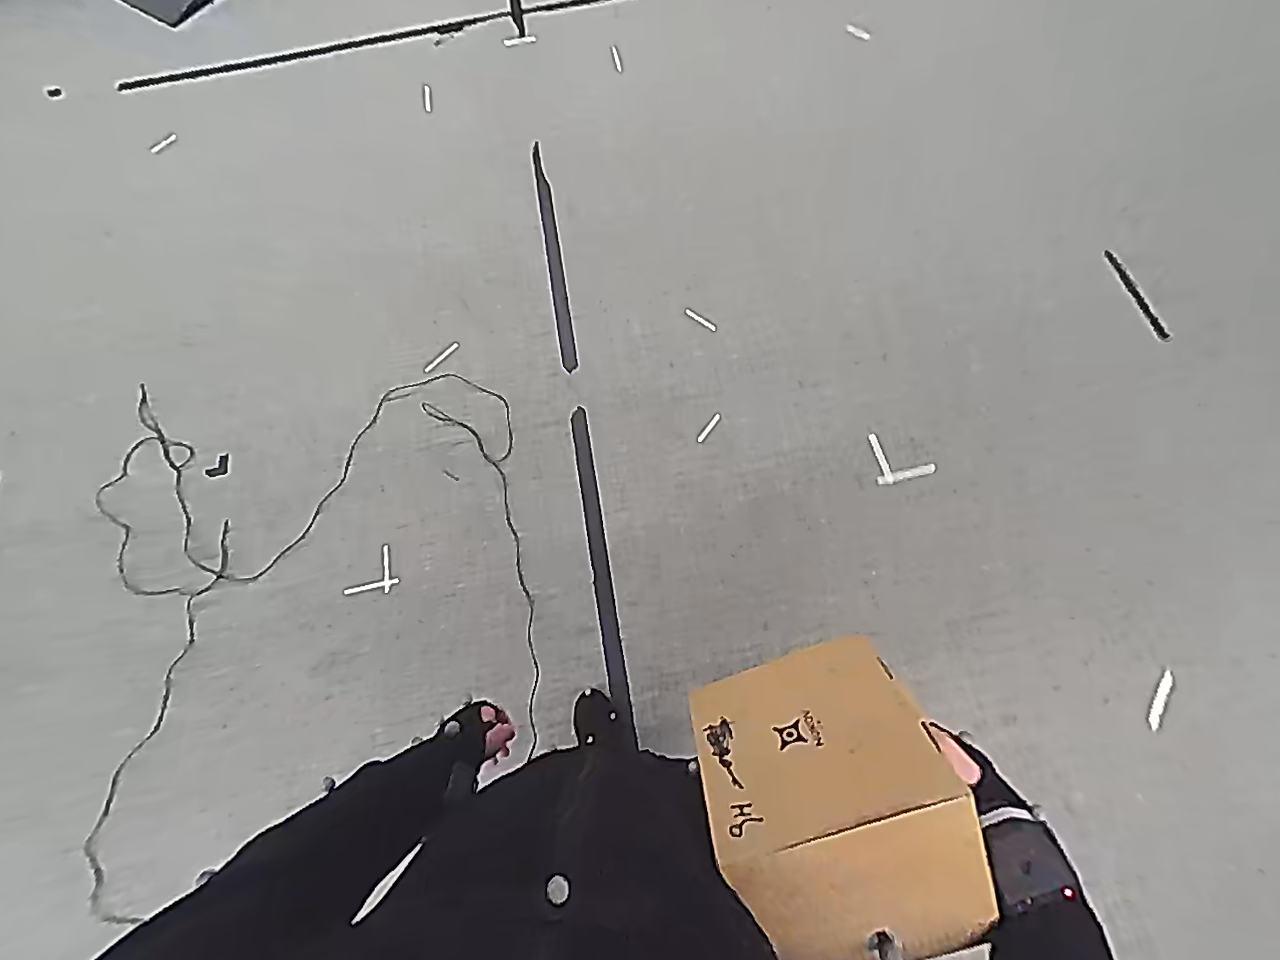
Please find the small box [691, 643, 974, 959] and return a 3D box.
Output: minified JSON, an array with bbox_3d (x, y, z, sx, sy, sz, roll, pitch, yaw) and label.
[{"bbox_3d":[0.163,0.284,0.476,0.179,0.168,0.176,-22,110,5],"label":"small box"}]
